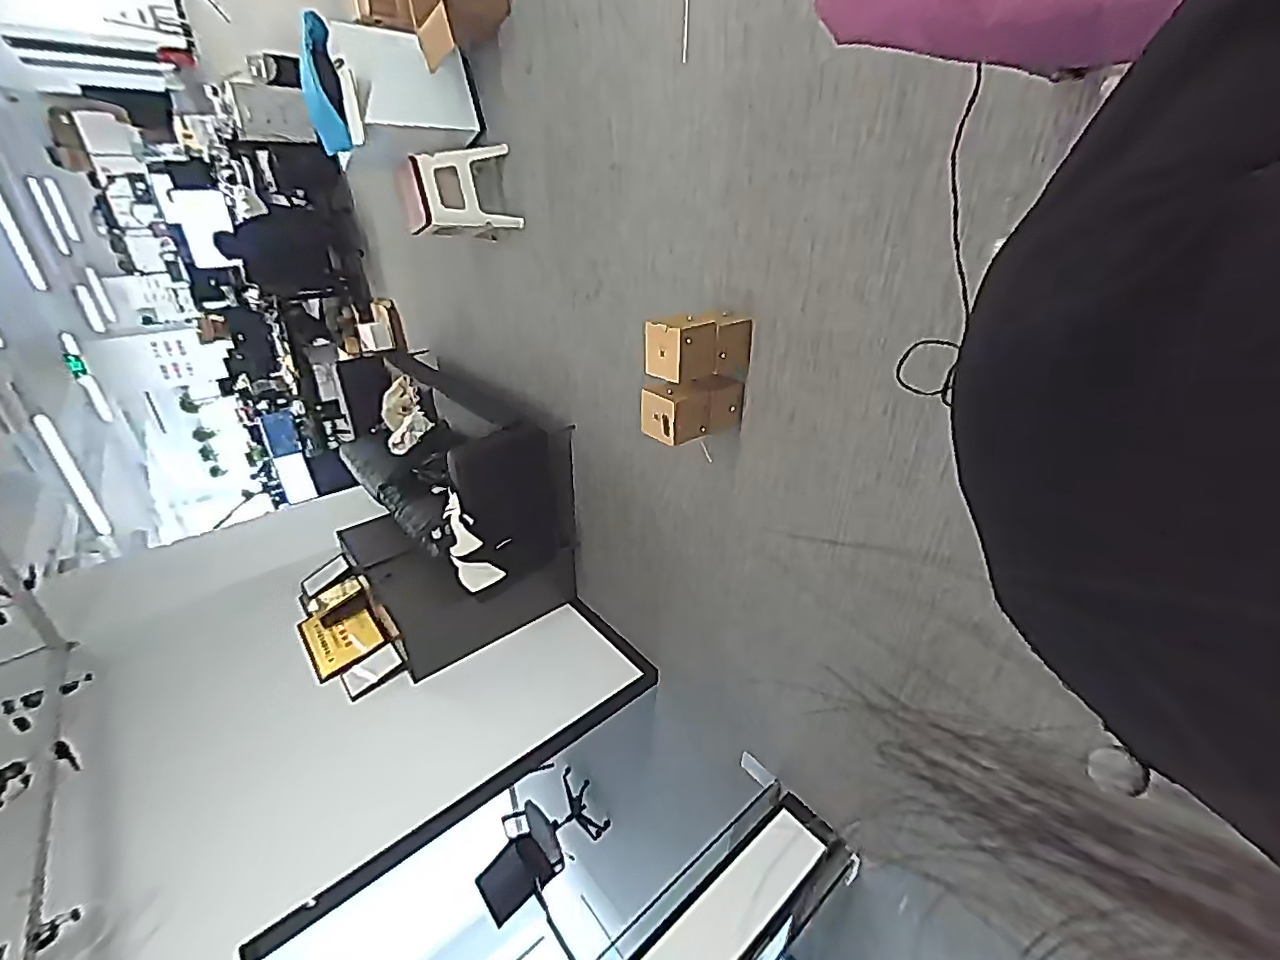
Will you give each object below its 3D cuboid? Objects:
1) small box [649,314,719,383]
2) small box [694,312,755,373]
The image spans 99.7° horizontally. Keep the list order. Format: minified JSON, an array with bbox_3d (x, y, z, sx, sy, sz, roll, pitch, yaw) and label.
[{"bbox_3d":[0.146,-0.440,1.791,0.168,0.176,0.179,27,129,43],"label":"small box"},{"bbox_3d":[0.274,-0.485,1.882,0.179,0.176,0.168,29,131,43],"label":"small box"}]
